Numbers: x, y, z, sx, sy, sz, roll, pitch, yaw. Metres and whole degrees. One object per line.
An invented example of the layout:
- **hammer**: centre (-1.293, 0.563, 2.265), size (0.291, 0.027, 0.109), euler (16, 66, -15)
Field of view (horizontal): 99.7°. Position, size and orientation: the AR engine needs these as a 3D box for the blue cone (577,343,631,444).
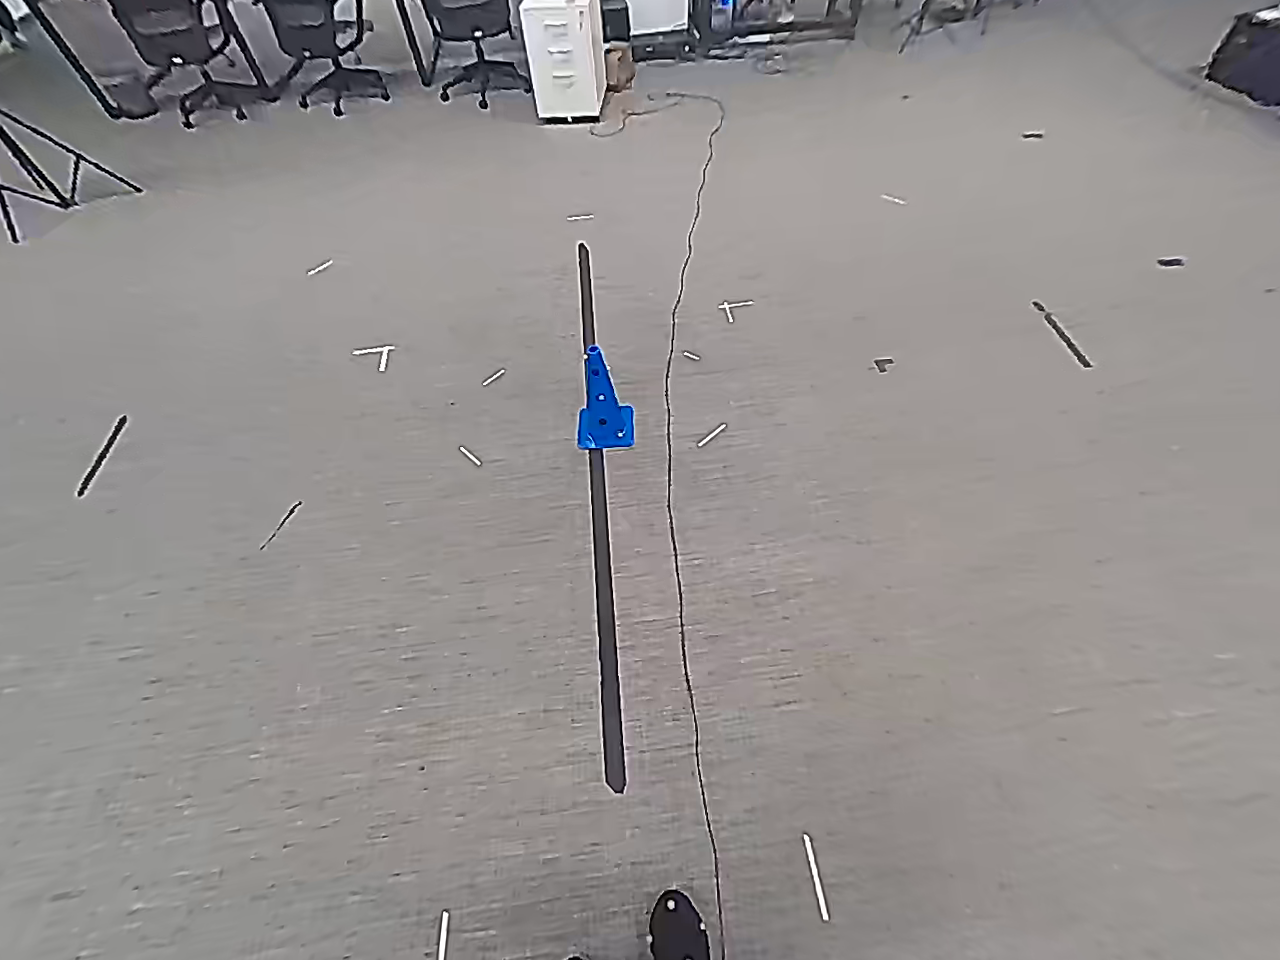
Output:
- **blue cone**: centre (-0.136, -0.304, 1.807), size (0.193, 0.380, 0.192), euler (-4, 53, 0)
